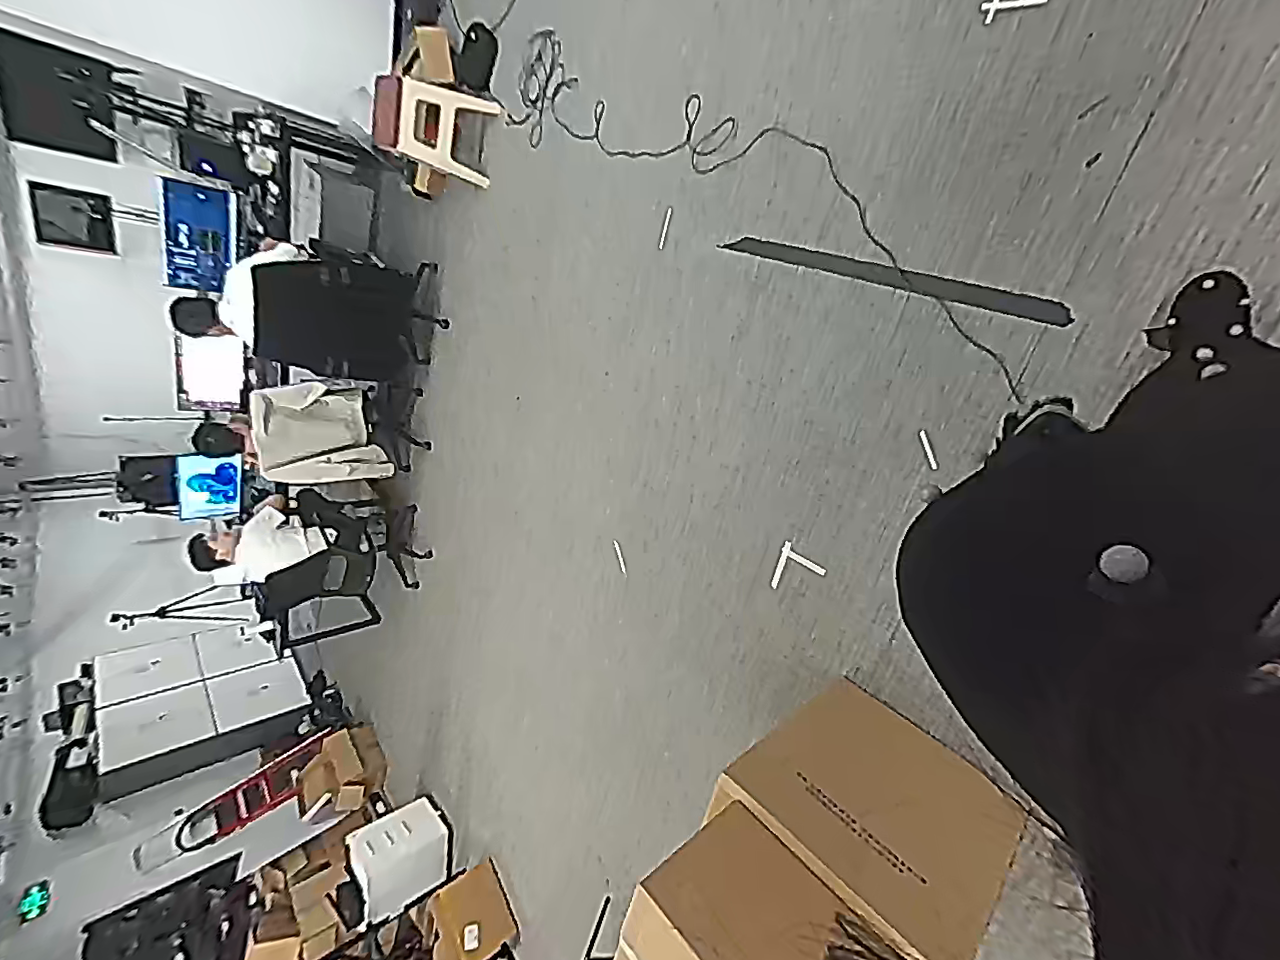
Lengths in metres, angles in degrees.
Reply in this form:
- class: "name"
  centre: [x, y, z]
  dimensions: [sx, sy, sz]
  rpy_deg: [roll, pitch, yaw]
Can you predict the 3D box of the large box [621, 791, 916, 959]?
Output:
- class: "large box"
  centre: [0.227, 0.913, 1.026]
  dimensions: [0.408, 0.320, 0.320]
  rpy_deg: [30, 115, 40]
